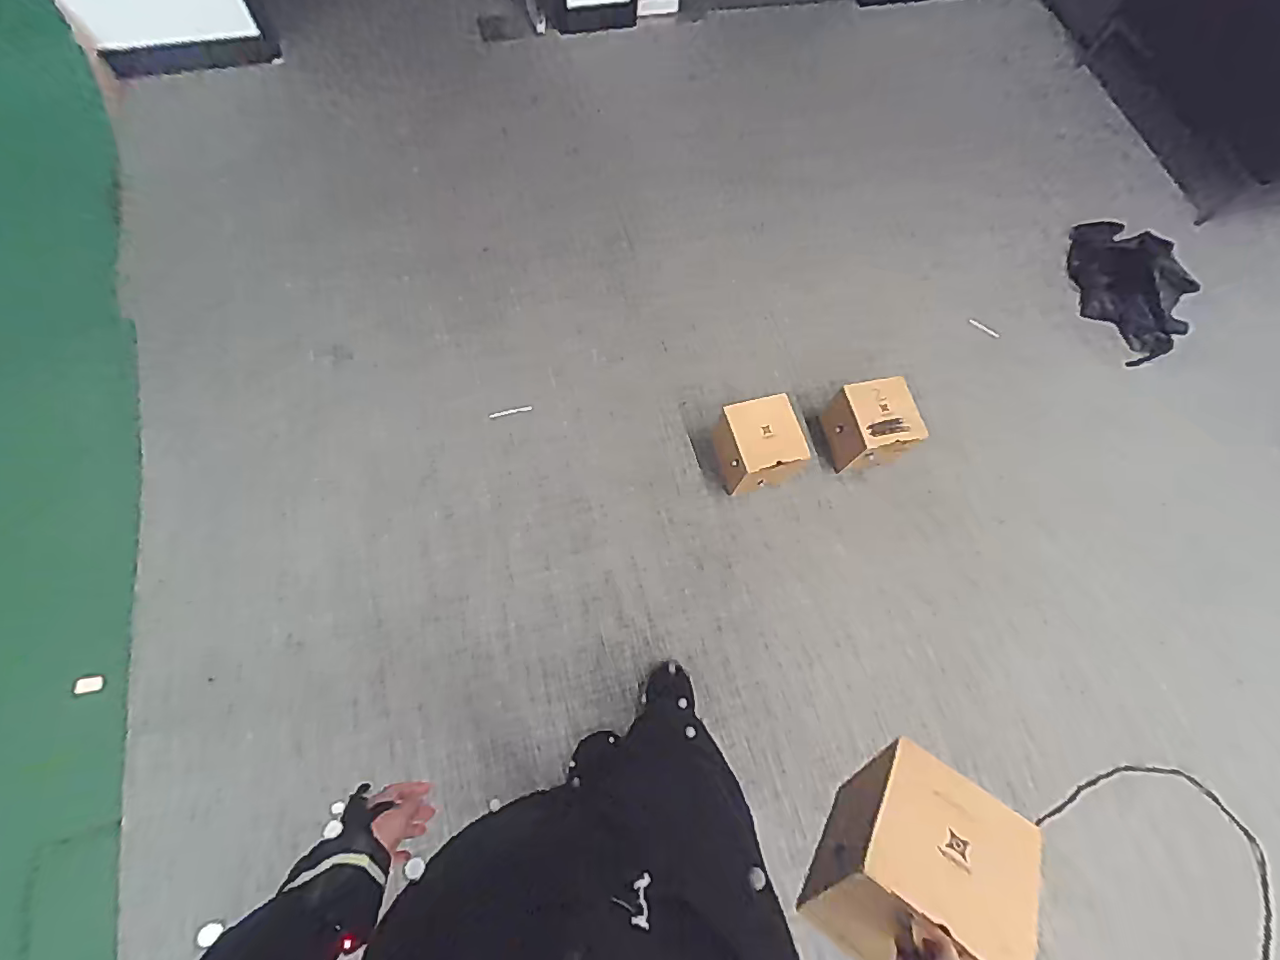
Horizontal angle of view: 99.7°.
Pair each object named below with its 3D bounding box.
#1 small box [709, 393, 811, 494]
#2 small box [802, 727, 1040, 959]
[{"bbox_3d":[0.284,-0.087,1.326,0.168,0.176,0.179,-14,72,-11],"label":"small box"},{"bbox_3d":[0.303,0.428,0.601,0.168,0.176,0.179,32,40,17],"label":"small box"}]
